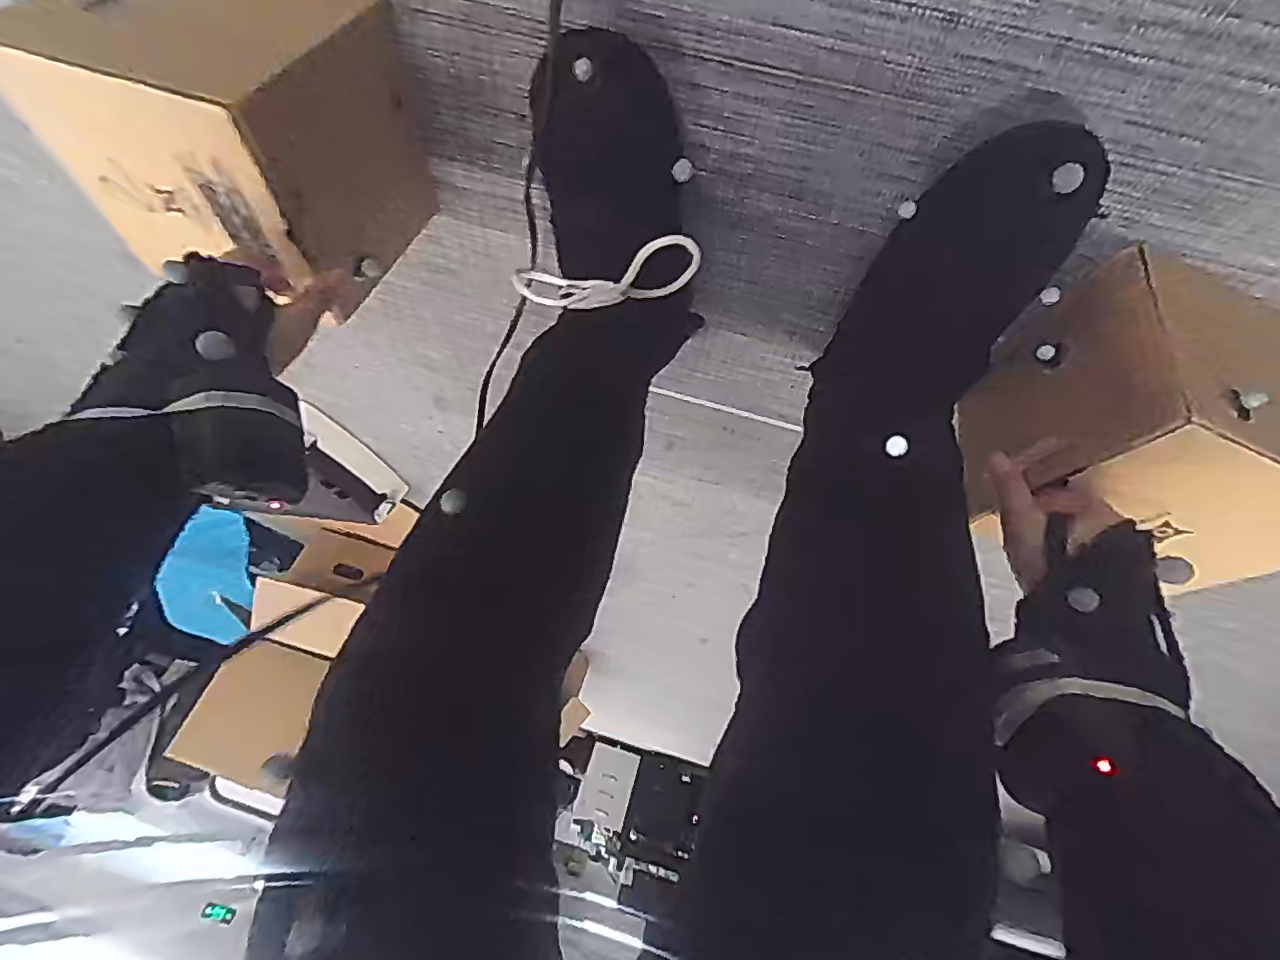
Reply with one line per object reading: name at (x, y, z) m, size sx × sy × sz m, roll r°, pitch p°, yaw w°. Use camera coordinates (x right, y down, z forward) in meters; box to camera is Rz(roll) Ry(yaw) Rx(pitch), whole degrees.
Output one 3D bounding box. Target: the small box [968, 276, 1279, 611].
small box at (0.392, -0.023, 0.420) m, size 0.179 × 0.176 × 0.168 m, roll 23°, pitch 149°, yaw -5°
